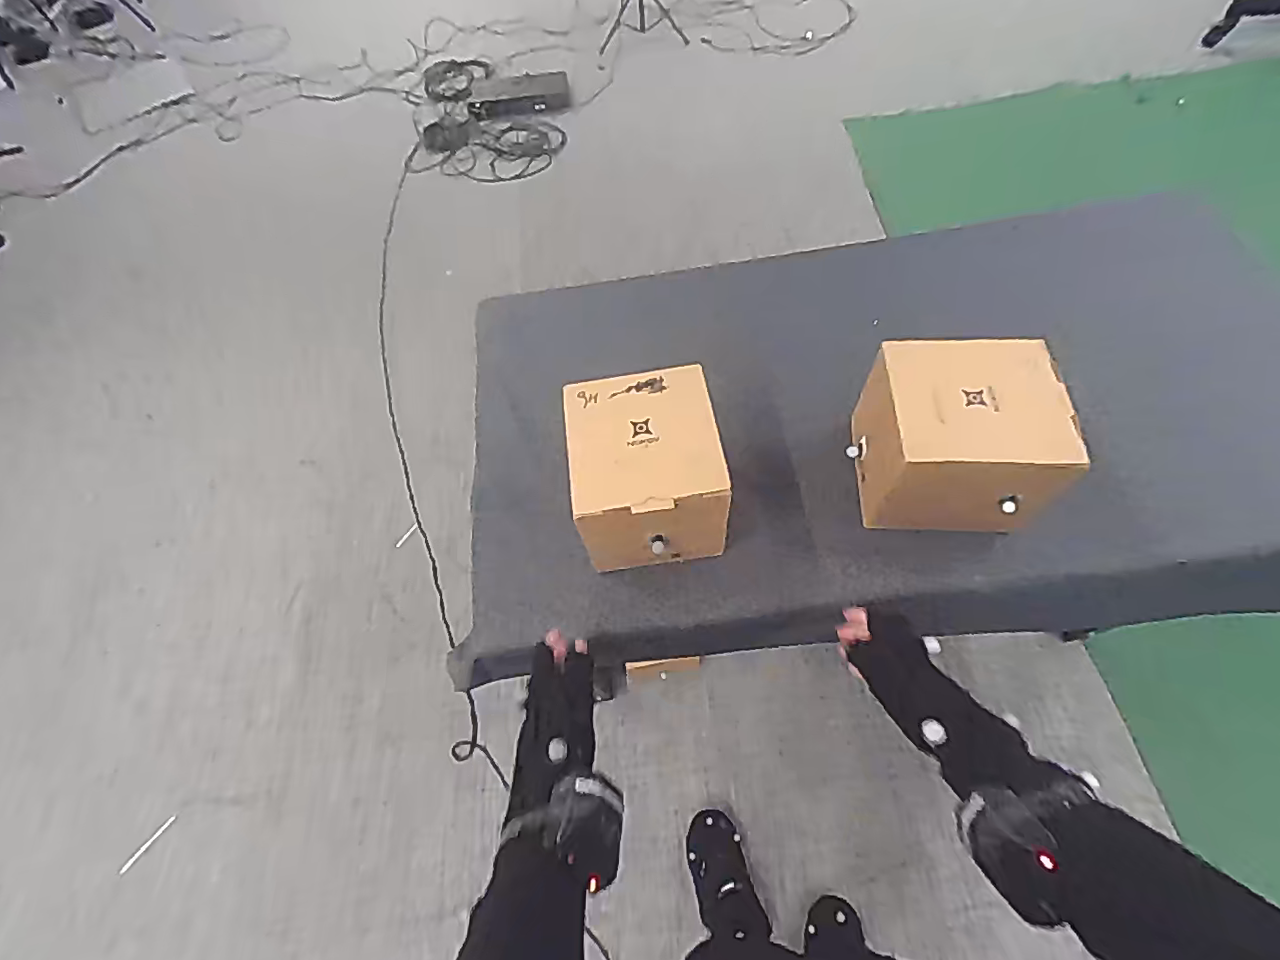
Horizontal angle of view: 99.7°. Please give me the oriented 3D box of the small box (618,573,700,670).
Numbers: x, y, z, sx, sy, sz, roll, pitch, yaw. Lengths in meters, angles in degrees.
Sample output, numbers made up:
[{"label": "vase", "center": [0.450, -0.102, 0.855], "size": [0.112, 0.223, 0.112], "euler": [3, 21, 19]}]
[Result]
[{"label": "small box", "center": [0.045, 0.343, 1.298], "size": [0.168, 0.176, 0.179], "euler": [-11, 62, 0]}]

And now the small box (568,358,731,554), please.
[{"label": "small box", "center": [0.012, -0.019, 0.663], "size": [0.168, 0.176, 0.179], "euler": [-9, 61, 0]}]

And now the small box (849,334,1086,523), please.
[{"label": "small box", "center": [0.370, -0.055, 0.651], "size": [0.179, 0.176, 0.168], "euler": [0, 61, 7]}]
